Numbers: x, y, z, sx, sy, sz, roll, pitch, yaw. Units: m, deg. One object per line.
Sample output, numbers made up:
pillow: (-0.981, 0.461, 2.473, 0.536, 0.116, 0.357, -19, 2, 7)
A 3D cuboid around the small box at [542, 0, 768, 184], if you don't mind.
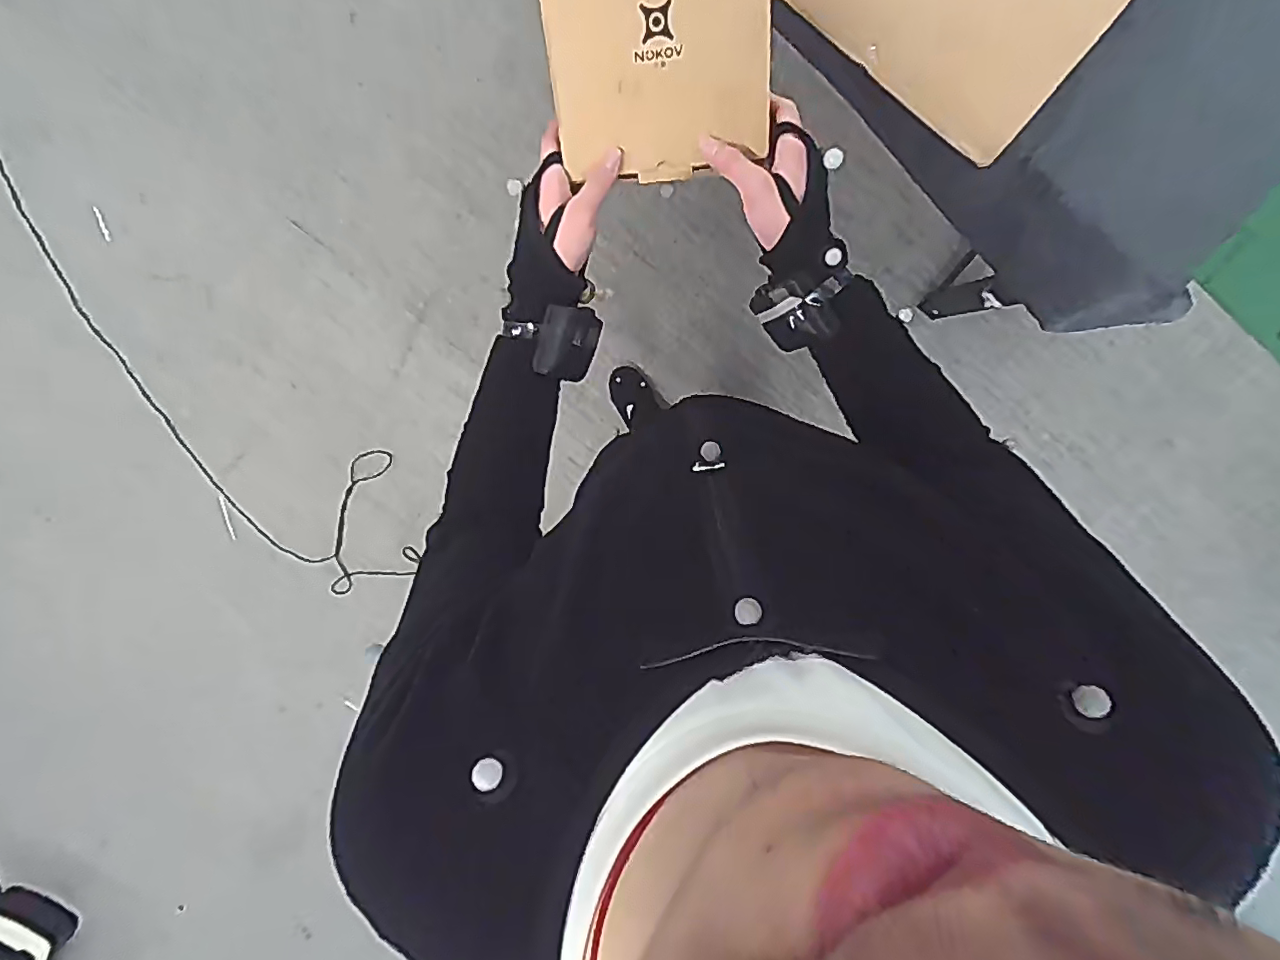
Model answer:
small box: (0.020, -0.368, 0.472, 0.168, 0.176, 0.179, -5, 116, 8)
